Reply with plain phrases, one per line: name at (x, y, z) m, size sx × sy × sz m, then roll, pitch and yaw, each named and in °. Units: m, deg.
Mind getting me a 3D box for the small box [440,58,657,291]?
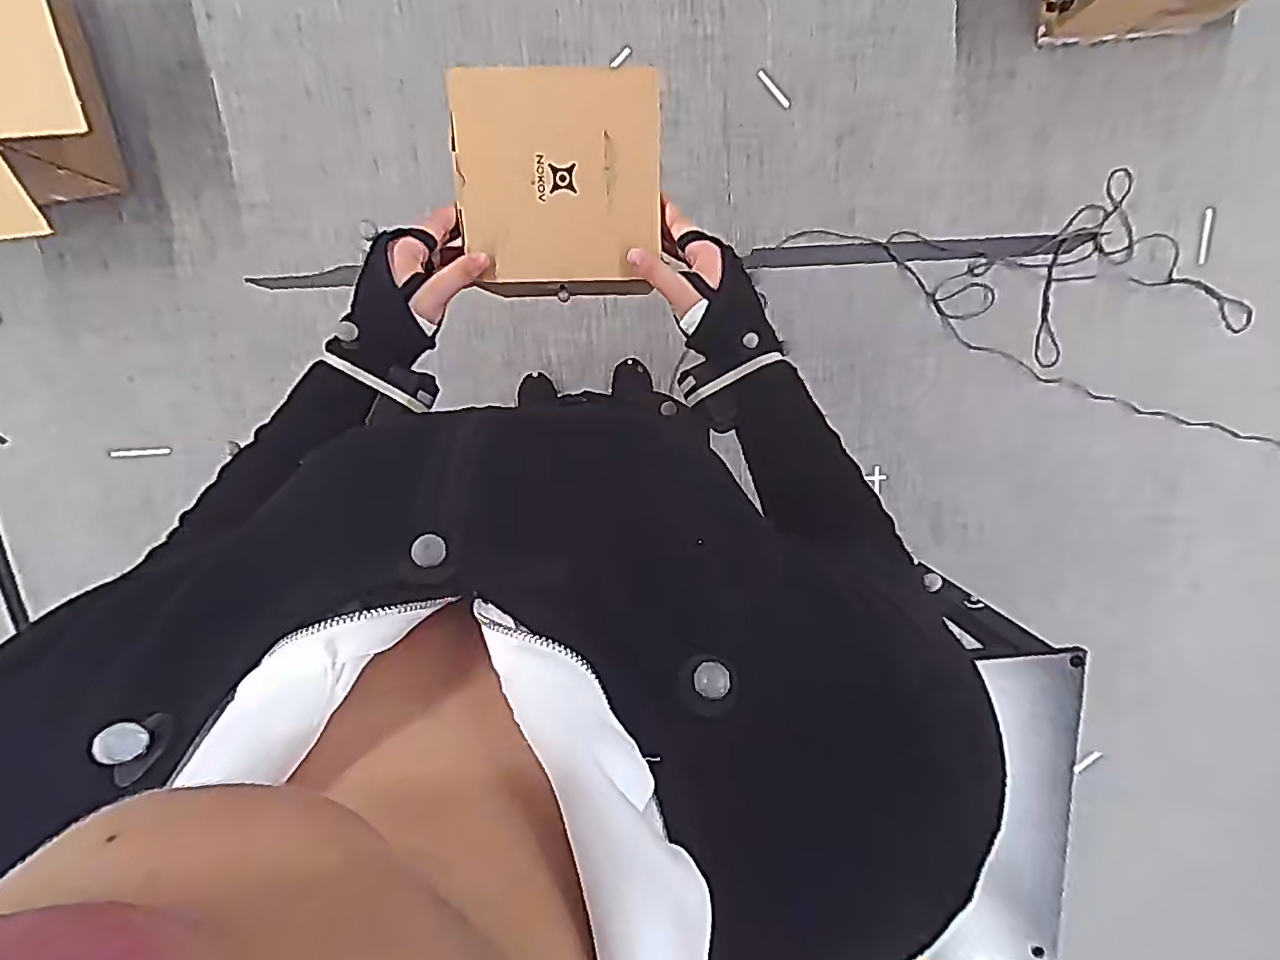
small box at (-0.077, -0.281, 0.534) m, size 0.179 × 0.176 × 0.168 m, roll -3°, pitch 105°, yaw -3°
